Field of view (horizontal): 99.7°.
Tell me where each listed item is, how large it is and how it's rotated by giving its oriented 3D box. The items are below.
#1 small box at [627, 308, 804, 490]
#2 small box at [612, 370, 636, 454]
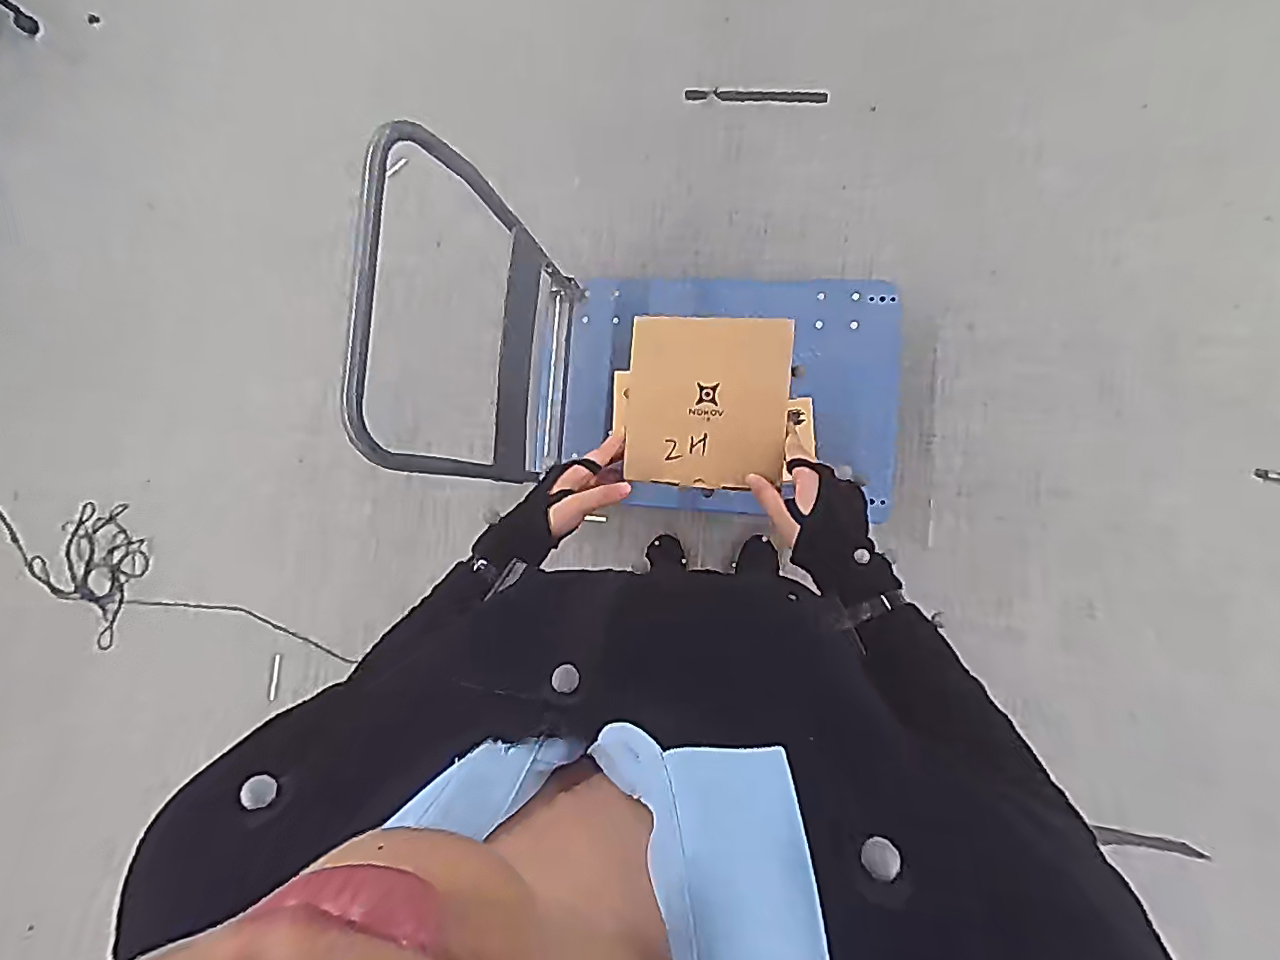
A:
[{"bbox_3d":[0.089,-0.085,0.622,0.168,0.176,0.179,5,93,12],"label":"small box"},{"bbox_3d":[0.033,-0.150,1.253,0.168,0.176,0.179,1,87,8],"label":"small box"}]
